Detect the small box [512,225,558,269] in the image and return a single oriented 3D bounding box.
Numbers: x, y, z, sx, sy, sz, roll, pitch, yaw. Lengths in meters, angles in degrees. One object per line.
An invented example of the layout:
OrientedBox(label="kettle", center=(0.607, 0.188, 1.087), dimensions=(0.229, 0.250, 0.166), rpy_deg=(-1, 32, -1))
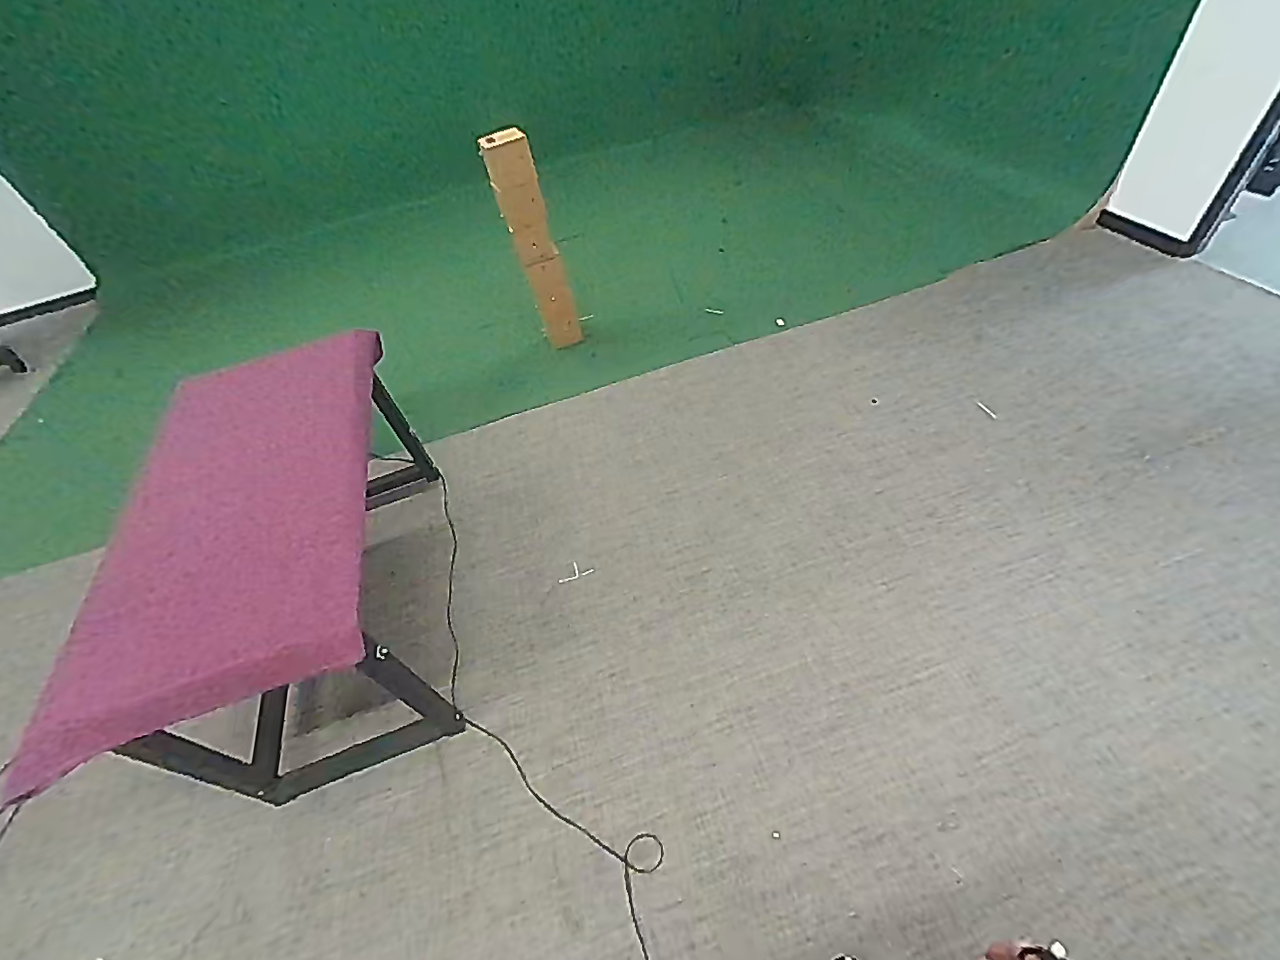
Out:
OrientedBox(label="small box", center=(-0.497, -1.117, 2.551), dimensions=(0.168, 0.176, 0.179), rpy_deg=(-19, 49, -5))

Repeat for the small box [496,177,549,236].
OrientedBox(label="small box", center=(-0.522, -1.233, 2.437), dimensions=(0.179, 0.176, 0.168), rpy_deg=(-26, 48, -10))

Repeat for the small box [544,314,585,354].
OrientedBox(label="small box", center=(-0.404, -0.813, 2.922), dimensions=(0.179, 0.176, 0.168), rpy_deg=(-21, 48, -7))

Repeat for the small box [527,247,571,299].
OrientedBox(label="small box", center=(-0.460, -1.024, 2.680), dimensions=(0.179, 0.176, 0.168), rpy_deg=(-21, 49, -8))

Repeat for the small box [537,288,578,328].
OrientedBox(label="small box", center=(-0.429, -0.920, 2.803), dimensions=(0.179, 0.176, 0.168), rpy_deg=(-20, 48, -6))
